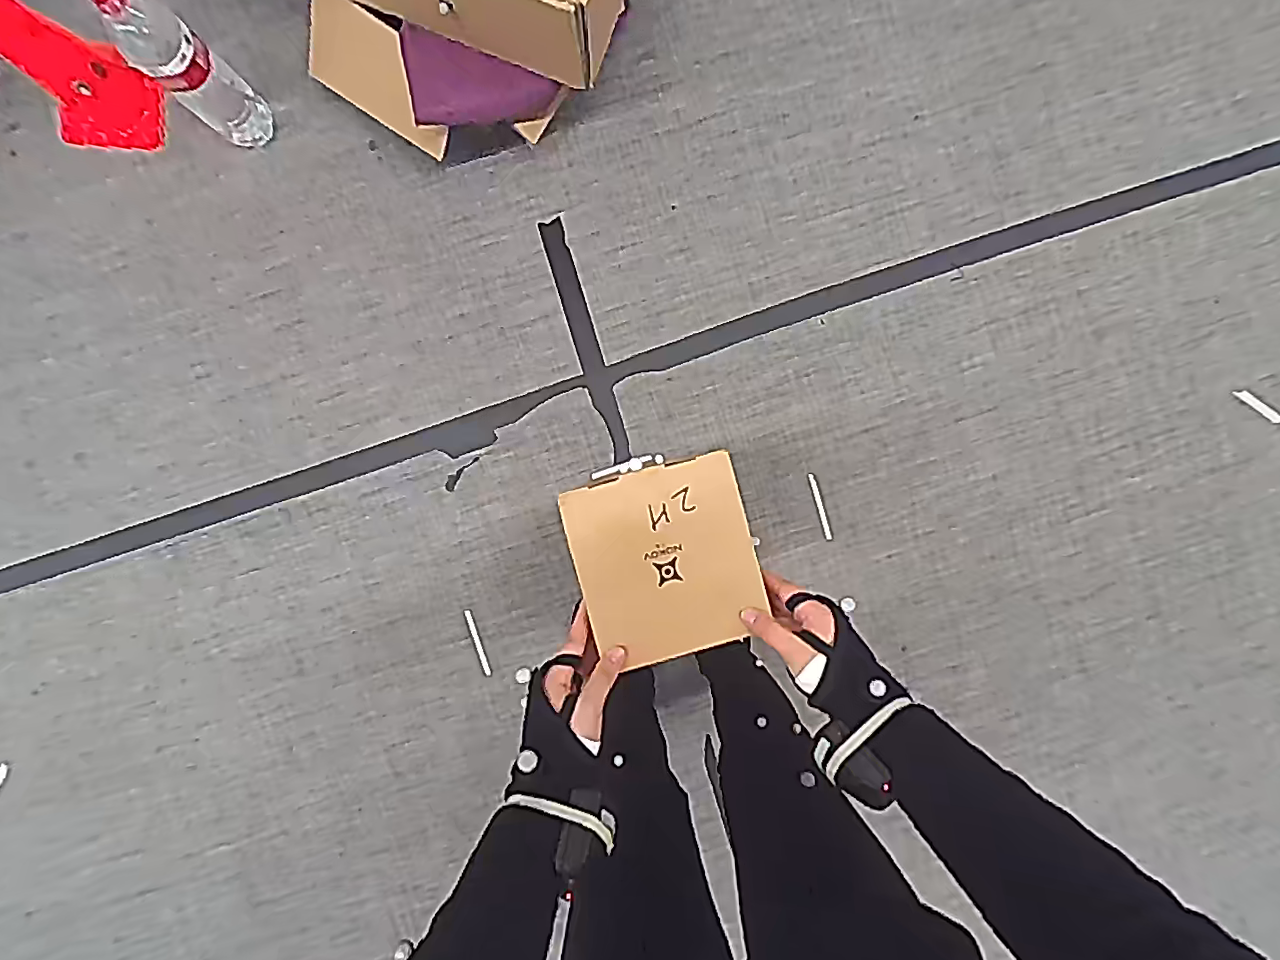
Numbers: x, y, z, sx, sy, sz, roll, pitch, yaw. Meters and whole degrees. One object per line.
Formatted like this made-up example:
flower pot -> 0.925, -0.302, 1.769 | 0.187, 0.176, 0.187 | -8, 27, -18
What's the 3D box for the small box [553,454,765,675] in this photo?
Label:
small box -> 0.016, 0.078, 0.581 | 0.168, 0.176, 0.179 | -16, 90, -2
